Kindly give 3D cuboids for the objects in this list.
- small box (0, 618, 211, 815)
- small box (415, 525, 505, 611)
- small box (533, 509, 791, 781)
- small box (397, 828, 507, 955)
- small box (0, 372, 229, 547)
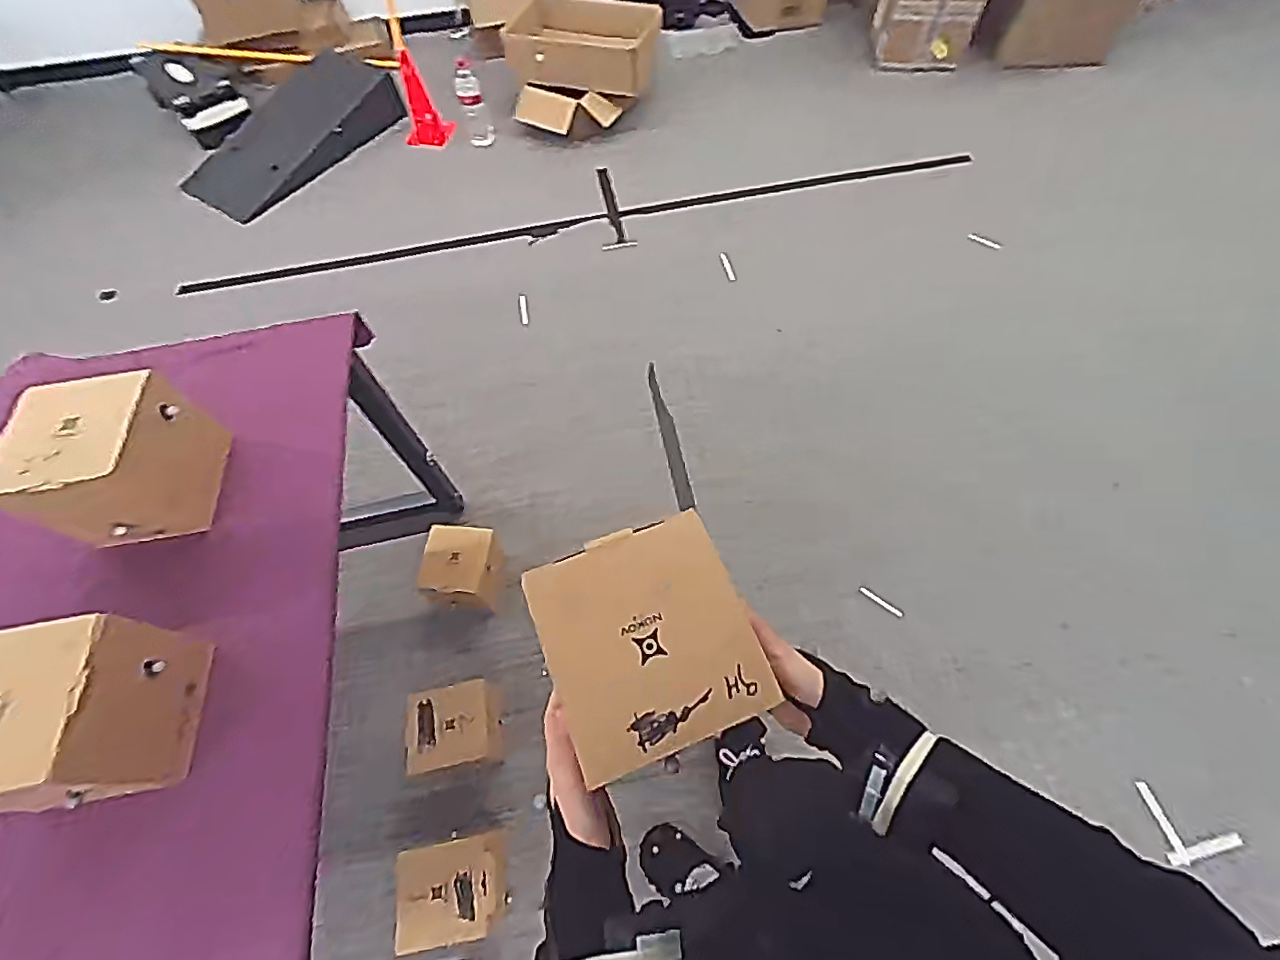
[{"bbox_3d":[-0.638,0.269,0.607,0.179,0.176,0.168,-11,60,-1],"label":"small box"},{"bbox_3d":[-0.472,0.238,1.450,0.168,0.176,0.179,4,63,4],"label":"small box"},{"bbox_3d":[0.013,0.157,0.512,0.168,0.176,0.179,-20,67,-8],"label":"small box"},{"bbox_3d":[-0.379,0.836,1.116,0.179,0.176,0.168,-11,61,-2],"label":"small box"},{"bbox_3d":[-0.734,-0.025,0.770,0.168,0.176,0.179,-10,62,-2],"label":"small box"}]
